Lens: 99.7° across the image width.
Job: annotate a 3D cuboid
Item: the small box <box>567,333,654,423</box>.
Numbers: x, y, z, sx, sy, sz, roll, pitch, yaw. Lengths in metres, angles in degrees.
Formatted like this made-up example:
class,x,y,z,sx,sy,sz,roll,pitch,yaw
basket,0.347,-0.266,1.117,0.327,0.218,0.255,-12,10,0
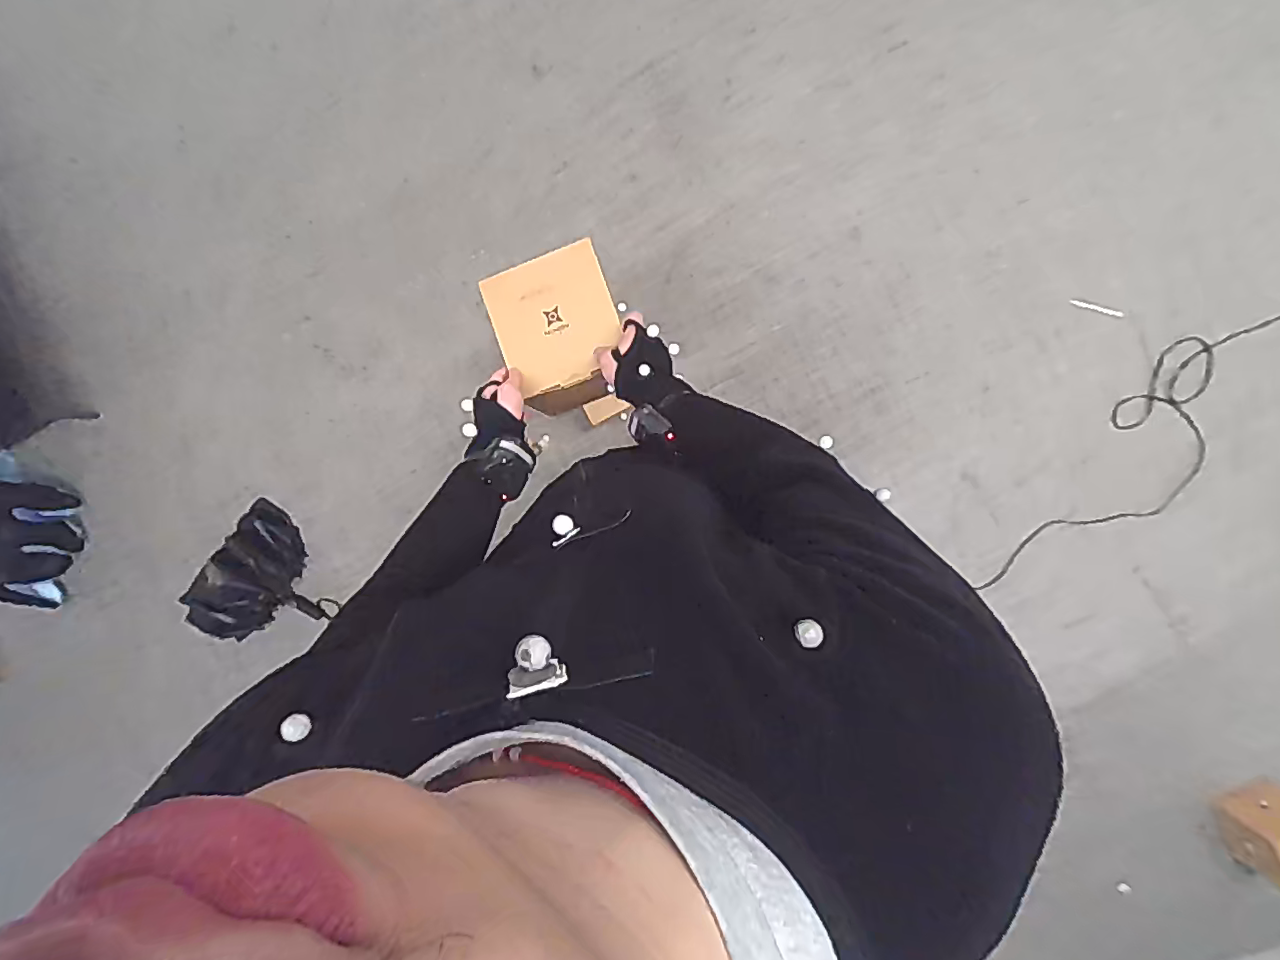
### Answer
class,x,y,z,sx,sy,sz,roll,pitch,yaw
small box,-0.073,-0.262,1.435,0.168,0.176,0.179,-28,94,5
